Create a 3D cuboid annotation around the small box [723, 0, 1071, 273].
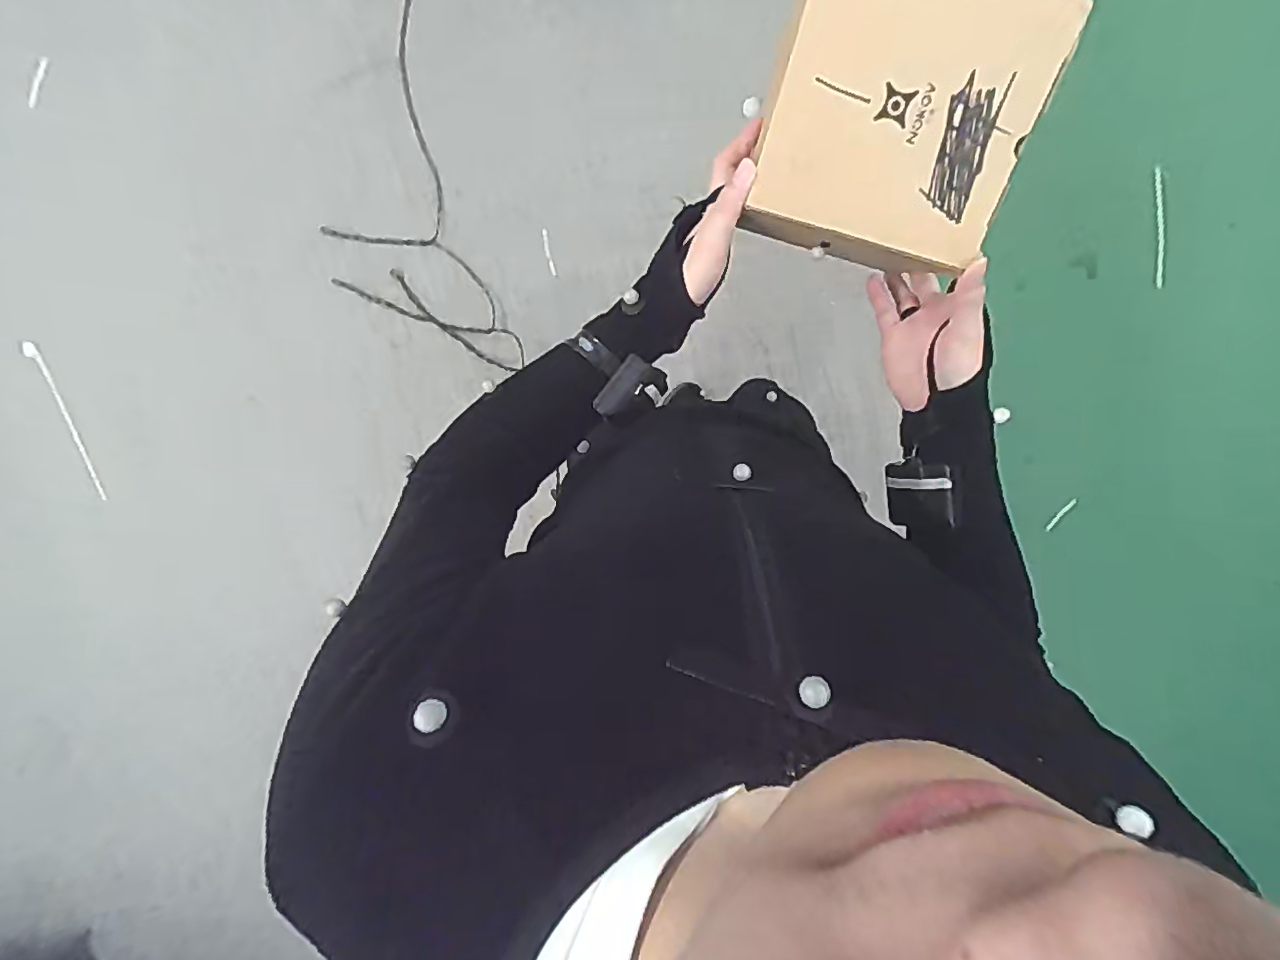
[{"bbox_3d":[0.178,-0.278,0.444,0.179,0.176,0.168,15,111,-1],"label":"small box"}]
